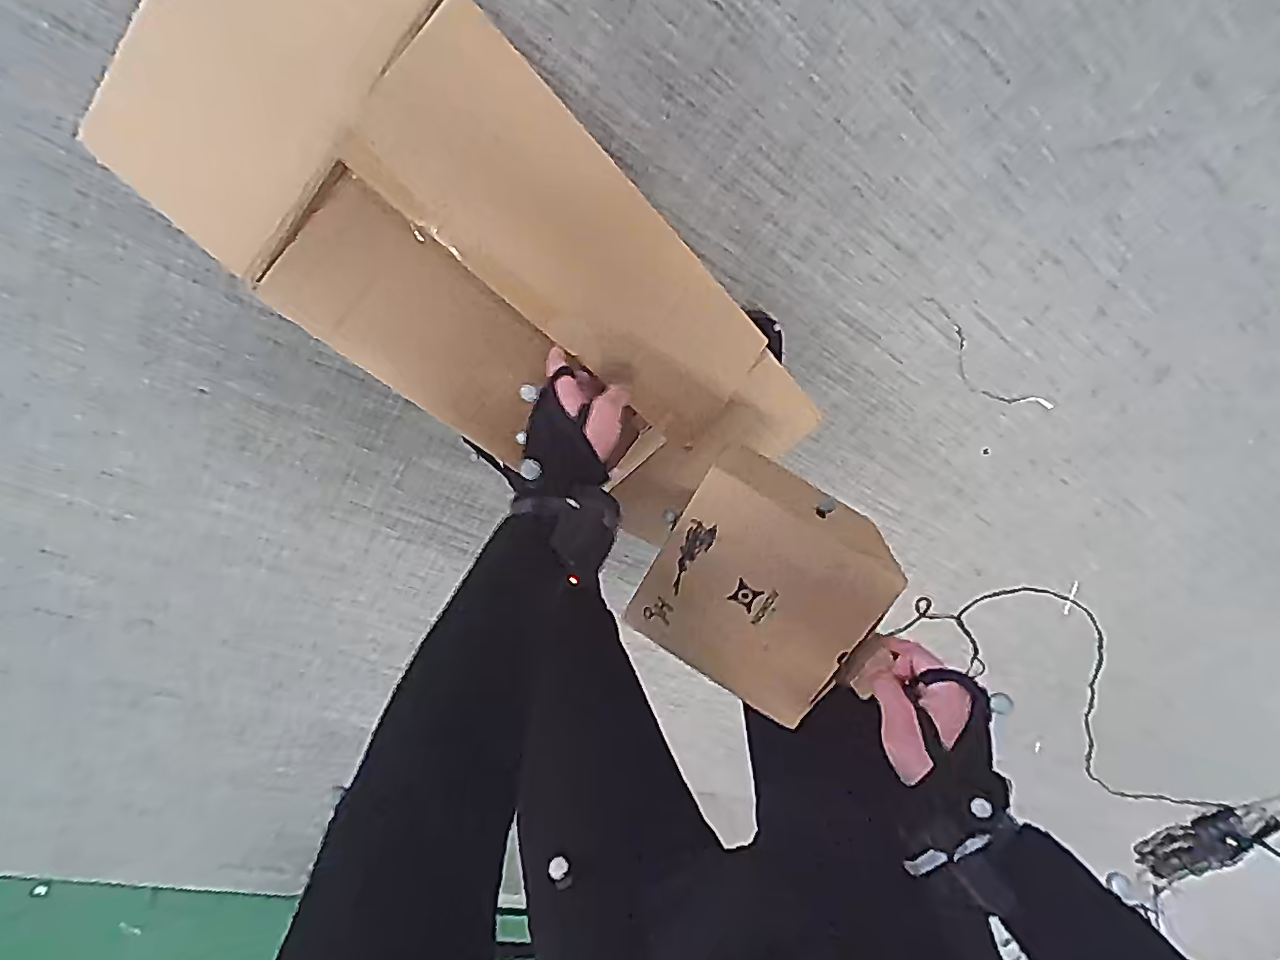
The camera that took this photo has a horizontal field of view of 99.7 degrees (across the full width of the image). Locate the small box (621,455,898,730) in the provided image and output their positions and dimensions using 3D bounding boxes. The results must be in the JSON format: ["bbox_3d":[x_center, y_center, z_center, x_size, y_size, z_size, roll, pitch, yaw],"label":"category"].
[{"bbox_3d":[0.112,0.090,0.524,0.179,0.176,0.168,29,108,9],"label":"small box"}]
